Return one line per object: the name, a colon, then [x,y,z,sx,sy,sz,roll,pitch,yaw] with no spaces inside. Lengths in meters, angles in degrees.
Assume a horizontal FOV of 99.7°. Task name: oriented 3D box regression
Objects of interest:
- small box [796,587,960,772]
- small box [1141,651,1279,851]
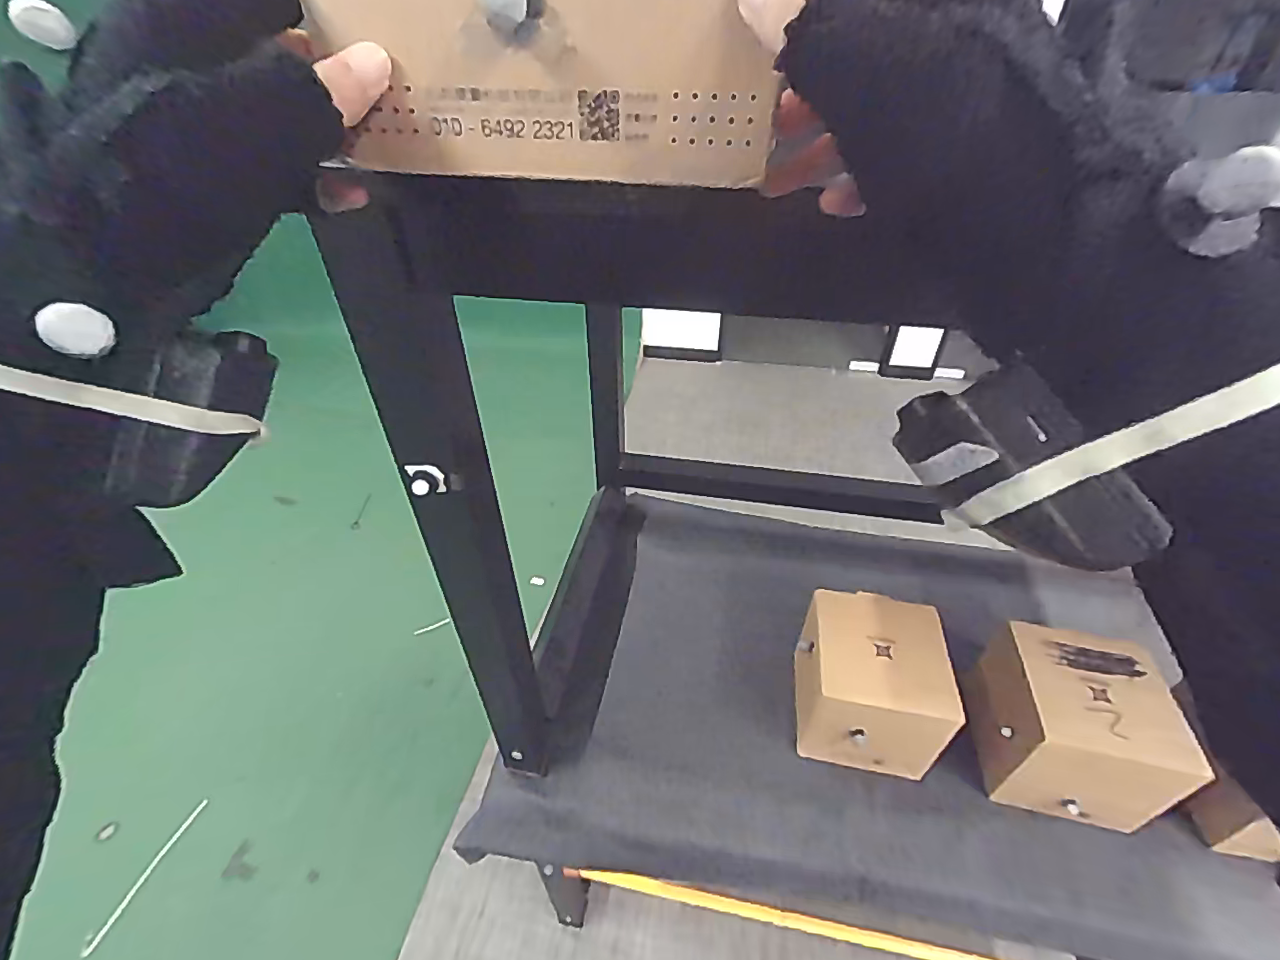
small box: [0.320,0.283,0.767,0.168,0.176,0.179,7,39,9]
small box: [0.801,0.347,0.677,0.168,0.176,0.179,7,38,8]
